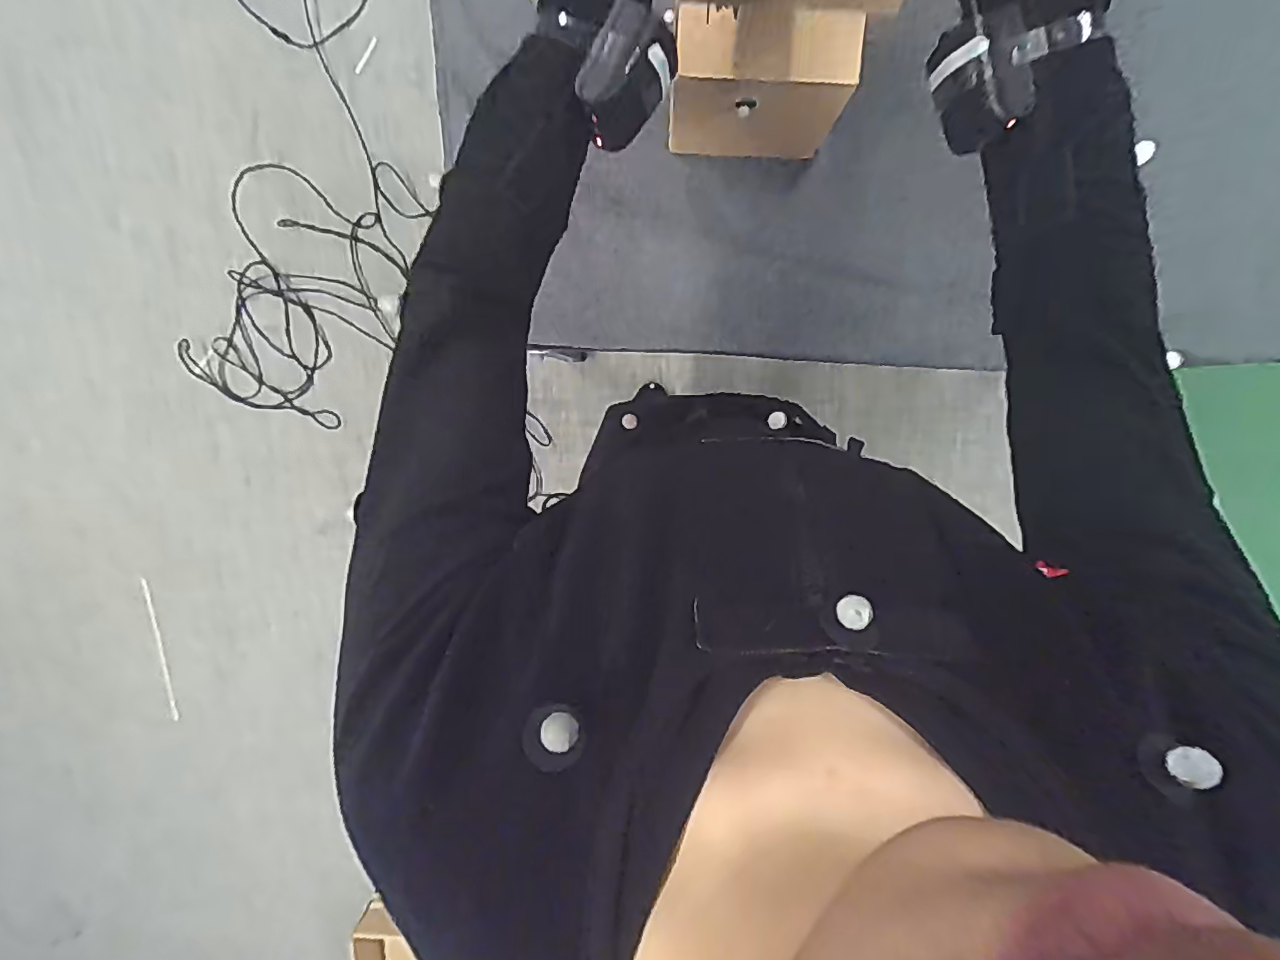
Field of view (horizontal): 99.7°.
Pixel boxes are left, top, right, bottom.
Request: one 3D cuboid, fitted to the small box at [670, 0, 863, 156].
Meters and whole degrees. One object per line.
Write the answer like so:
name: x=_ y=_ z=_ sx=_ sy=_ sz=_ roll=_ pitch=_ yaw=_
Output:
small box: x=0.125 y=-0.473 z=0.581 sx=0.179 sy=0.176 sz=0.168 roll=3 pitch=99 yaw=1
